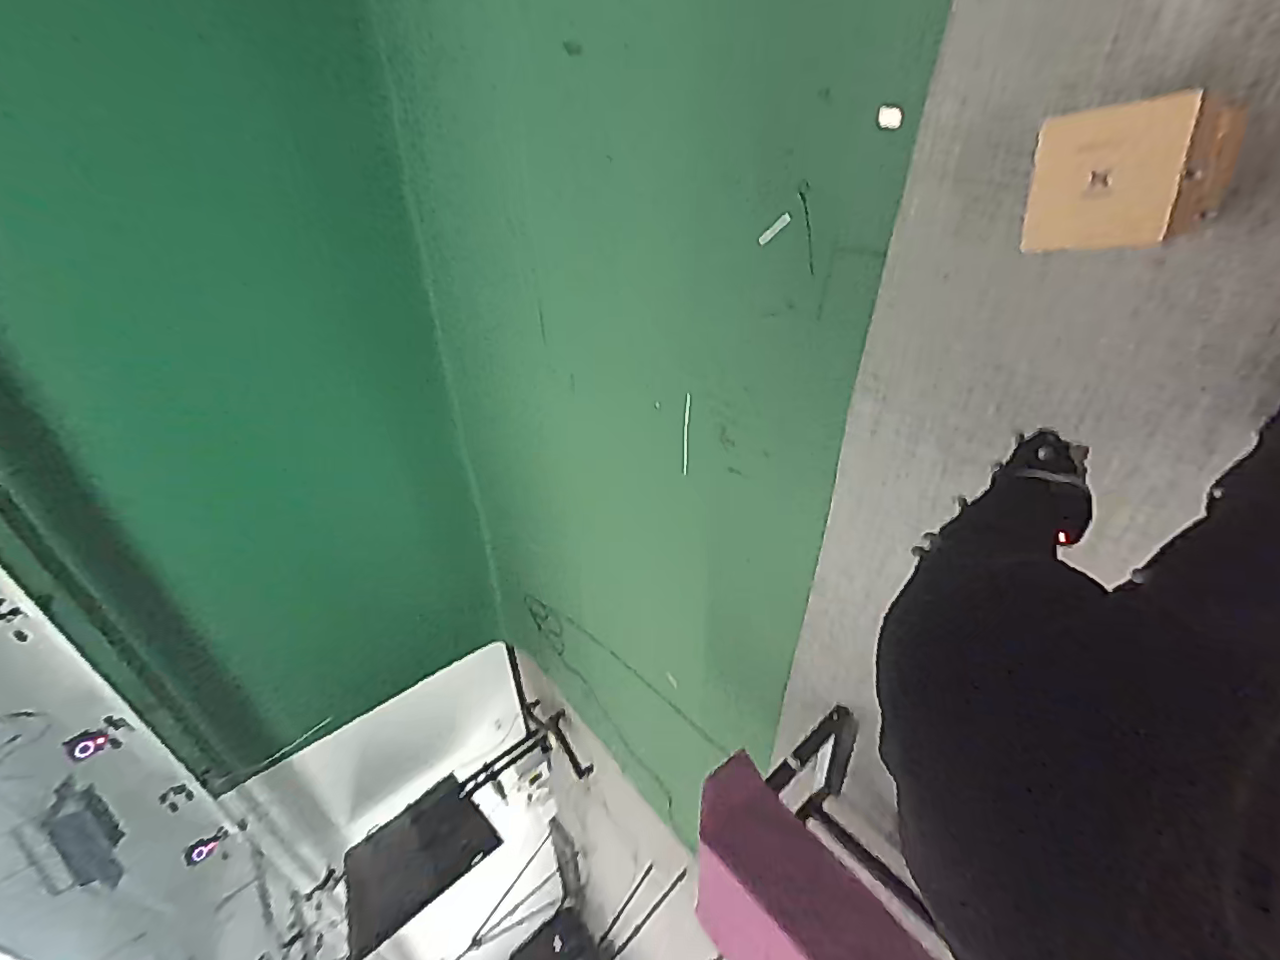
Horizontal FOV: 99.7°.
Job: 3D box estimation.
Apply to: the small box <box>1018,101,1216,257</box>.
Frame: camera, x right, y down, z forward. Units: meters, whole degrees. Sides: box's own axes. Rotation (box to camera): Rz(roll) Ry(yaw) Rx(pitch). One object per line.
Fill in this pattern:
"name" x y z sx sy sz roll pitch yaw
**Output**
"small box" 0.690 -0.432 0.788 0.168 0.176 0.179 23 128 46
